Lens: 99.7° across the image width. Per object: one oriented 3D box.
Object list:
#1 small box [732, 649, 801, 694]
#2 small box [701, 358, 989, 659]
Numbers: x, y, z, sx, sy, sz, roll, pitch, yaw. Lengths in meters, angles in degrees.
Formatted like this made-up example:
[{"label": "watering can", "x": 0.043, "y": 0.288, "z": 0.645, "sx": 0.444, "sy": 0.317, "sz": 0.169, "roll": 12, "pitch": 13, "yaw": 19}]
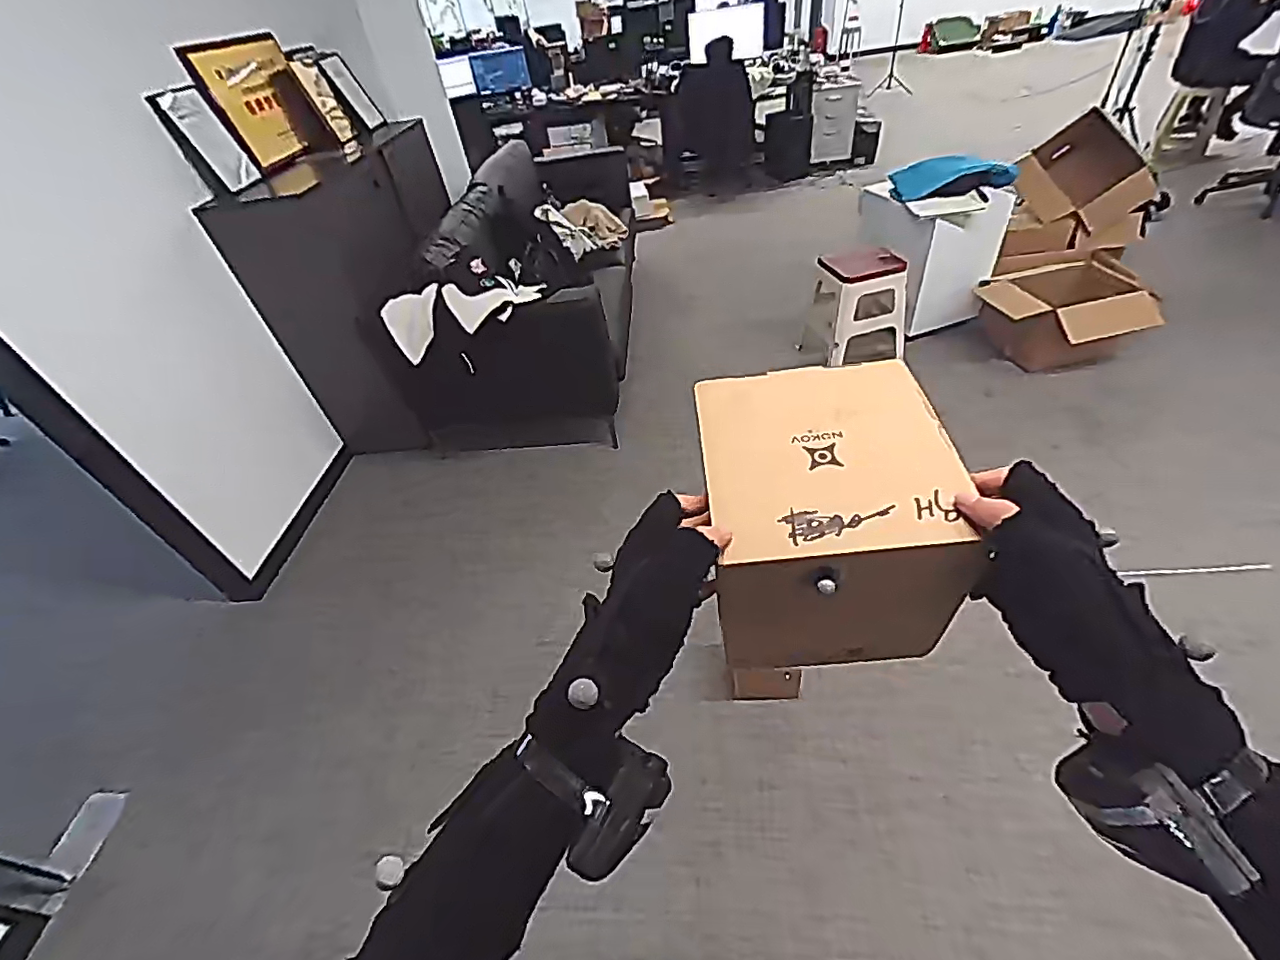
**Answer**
[{"label": "small box", "x": 0.344, "y": 0.479, "z": 1.502, "sx": 0.179, "sy": 0.176, "sz": 0.168, "roll": -3, "pitch": 43, "yaw": 7}, {"label": "small box", "x": 0.139, "y": 0.027, "z": 0.443, "sx": 0.168, "sy": 0.176, "sz": 0.179, "roll": -6, "pitch": 48, "yaw": 7}]
